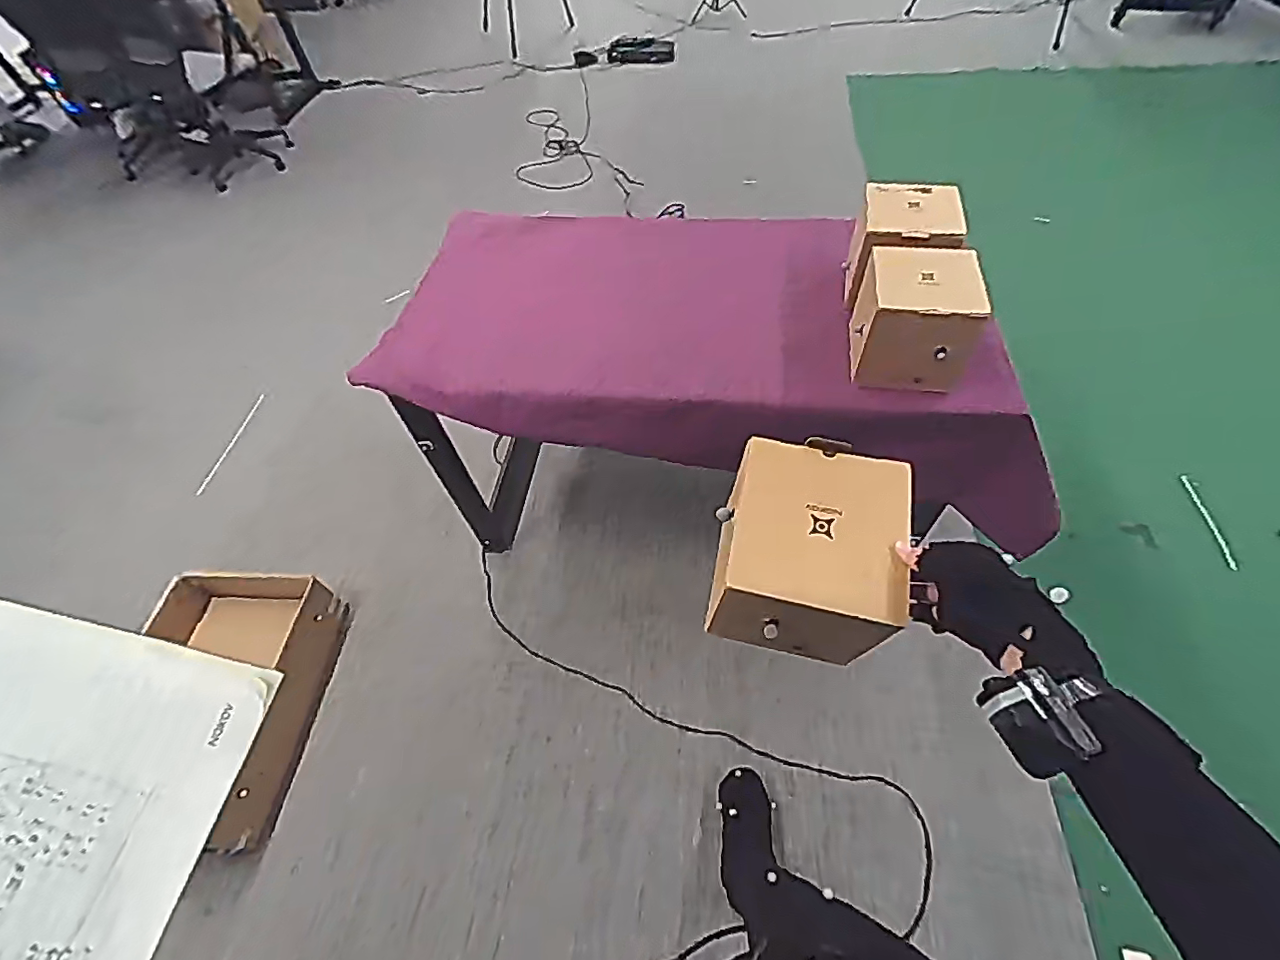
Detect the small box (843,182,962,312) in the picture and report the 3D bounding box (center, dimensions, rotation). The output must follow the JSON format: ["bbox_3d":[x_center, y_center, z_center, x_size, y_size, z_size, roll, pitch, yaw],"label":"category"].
[{"bbox_3d":[0.501,-0.450,1.052,0.168,0.176,0.179,9,57,11],"label":"small box"}]

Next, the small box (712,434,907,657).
[{"bbox_3d":[0.178,0.079,0.598,0.168,0.176,0.179,12,59,7],"label":"small box"}]
